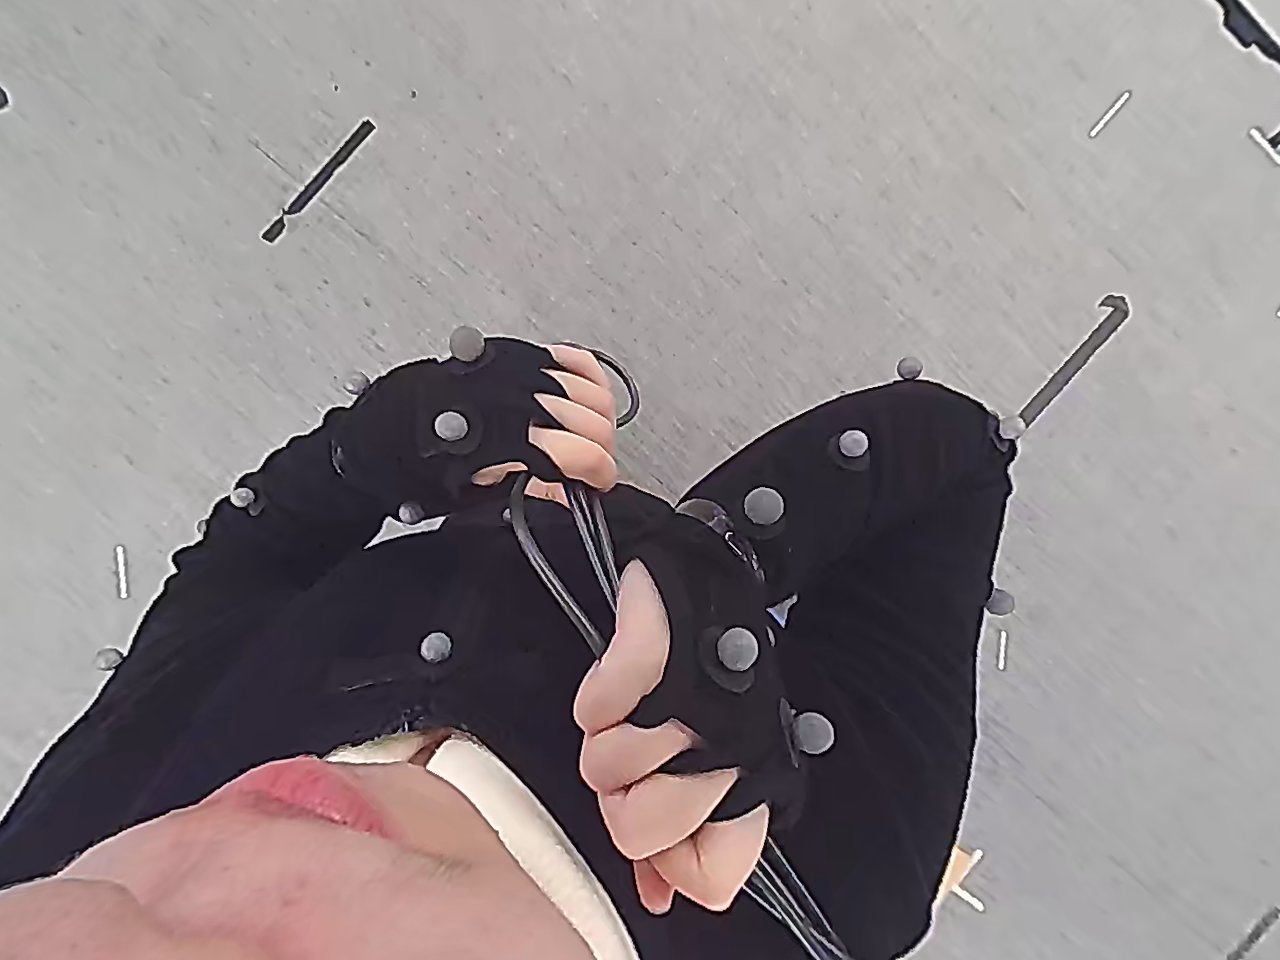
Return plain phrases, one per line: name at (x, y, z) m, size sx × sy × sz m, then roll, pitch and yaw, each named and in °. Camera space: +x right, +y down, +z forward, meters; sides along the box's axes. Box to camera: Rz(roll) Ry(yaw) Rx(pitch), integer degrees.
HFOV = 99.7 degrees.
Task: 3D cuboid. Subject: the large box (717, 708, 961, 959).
large box at (0.444, 0.847, 1.290) m, size 0.320 × 0.320 × 0.408 m, roll 34°, pitch 93°, yaw -6°
